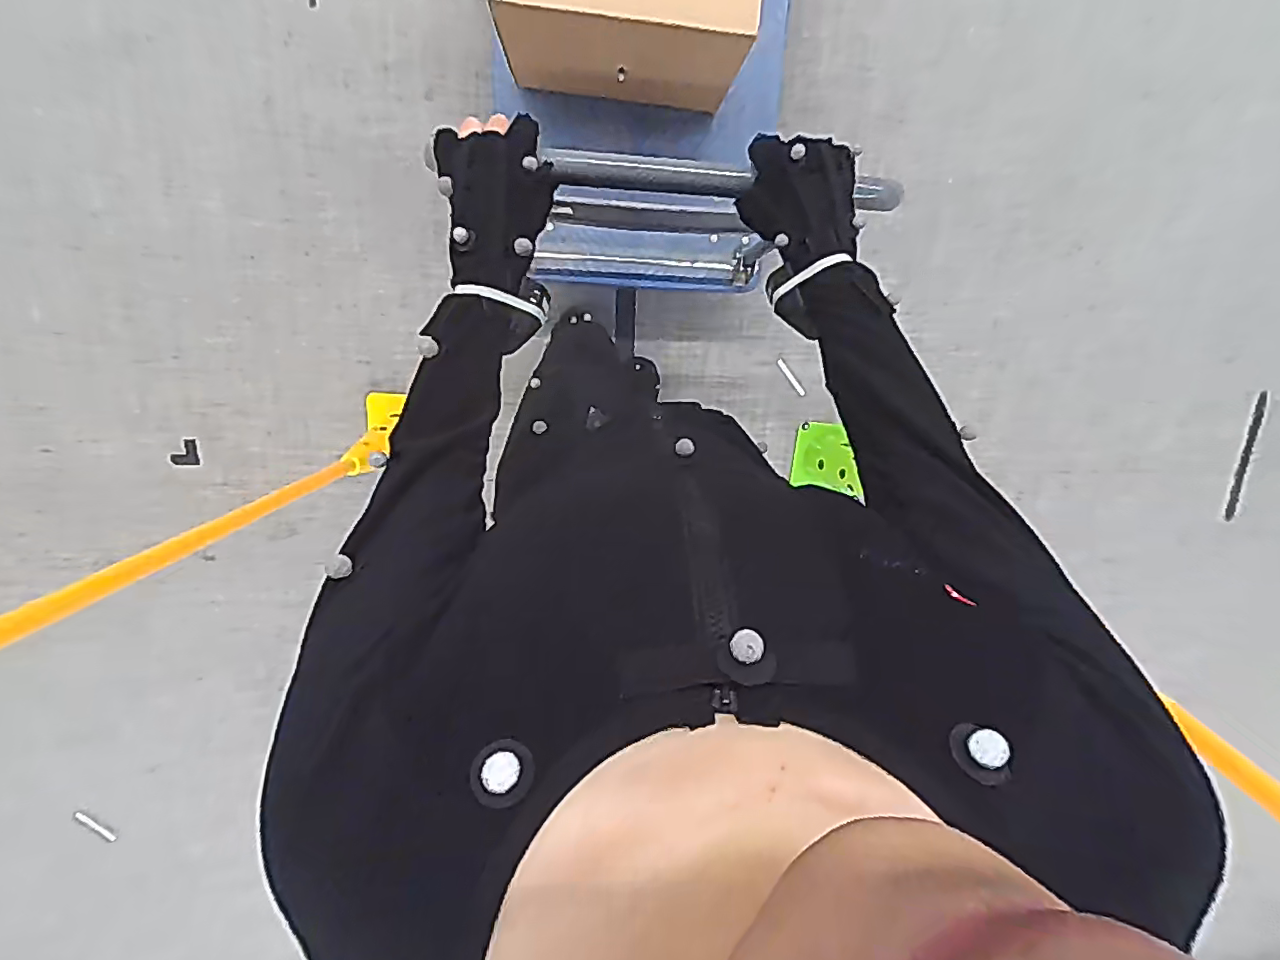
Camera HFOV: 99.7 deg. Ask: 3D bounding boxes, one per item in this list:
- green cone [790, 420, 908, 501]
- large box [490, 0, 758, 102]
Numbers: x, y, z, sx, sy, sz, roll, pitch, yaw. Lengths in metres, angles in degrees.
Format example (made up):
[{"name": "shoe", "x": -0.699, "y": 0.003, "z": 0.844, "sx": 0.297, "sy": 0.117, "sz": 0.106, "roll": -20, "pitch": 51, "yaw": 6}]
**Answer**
[{"name": "green cone", "x": 0.538, "y": -0.018, "z": 1.335, "sx": 0.202, "sy": 0.368, "sz": 0.200, "roll": 3, "pitch": 105, "yaw": -6}, {"name": "large box", "x": -0.020, "y": -0.878, "z": 0.904, "sx": 0.408, "sy": 0.320, "sz": 0.320, "roll": 4, "pitch": 106, "yaw": -5}]
